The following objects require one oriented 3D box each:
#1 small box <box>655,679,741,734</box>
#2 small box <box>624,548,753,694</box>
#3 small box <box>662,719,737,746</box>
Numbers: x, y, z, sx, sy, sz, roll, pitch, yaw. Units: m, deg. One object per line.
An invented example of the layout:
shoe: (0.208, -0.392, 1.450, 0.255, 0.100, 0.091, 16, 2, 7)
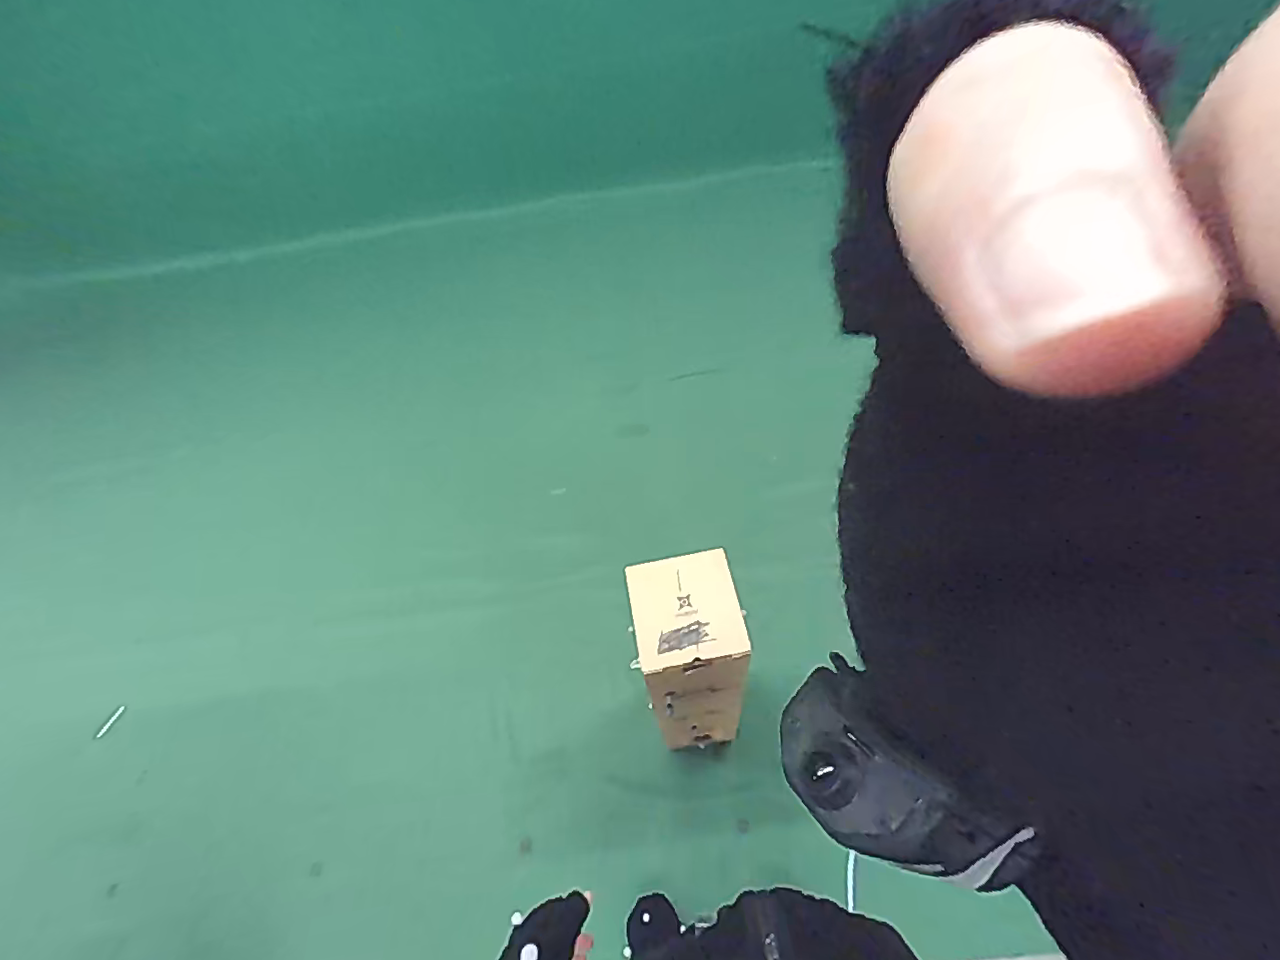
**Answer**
small box: (0.112, 0.428, 1.162, 0.168, 0.176, 0.179, -10, 56, -1)
small box: (0.078, 0.241, 0.894, 0.168, 0.176, 0.179, -14, 56, -3)
small box: (0.130, 0.520, 1.294, 0.168, 0.176, 0.179, -9, 55, 1)
